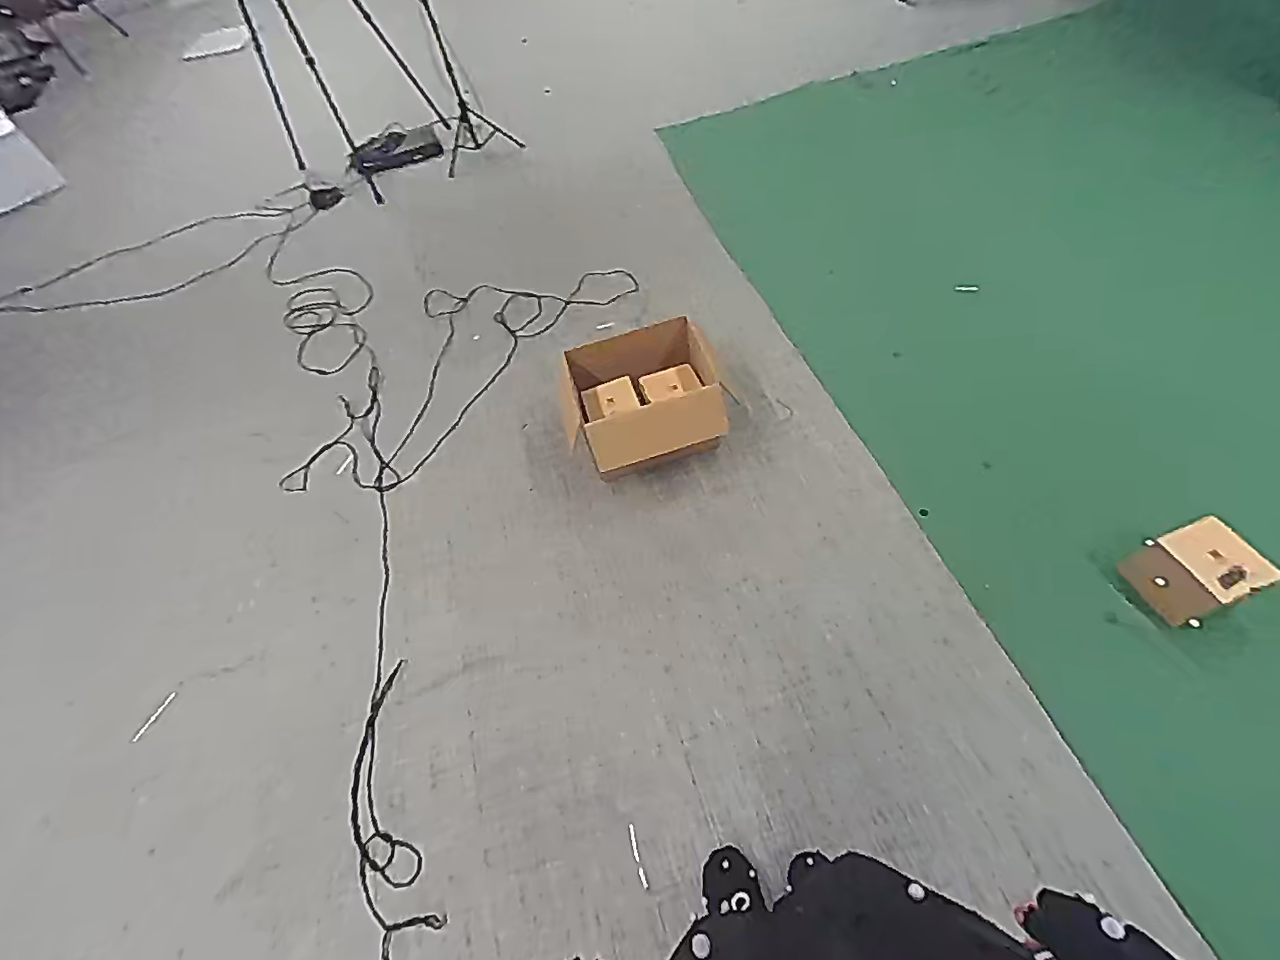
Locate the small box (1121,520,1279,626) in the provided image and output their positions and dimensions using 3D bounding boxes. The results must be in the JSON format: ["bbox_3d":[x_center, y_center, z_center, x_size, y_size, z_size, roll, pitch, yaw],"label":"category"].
[{"bbox_3d":[1.327,0.230,1.289,0.168,0.176,0.179,-20,55,-5],"label":"small box"}]
